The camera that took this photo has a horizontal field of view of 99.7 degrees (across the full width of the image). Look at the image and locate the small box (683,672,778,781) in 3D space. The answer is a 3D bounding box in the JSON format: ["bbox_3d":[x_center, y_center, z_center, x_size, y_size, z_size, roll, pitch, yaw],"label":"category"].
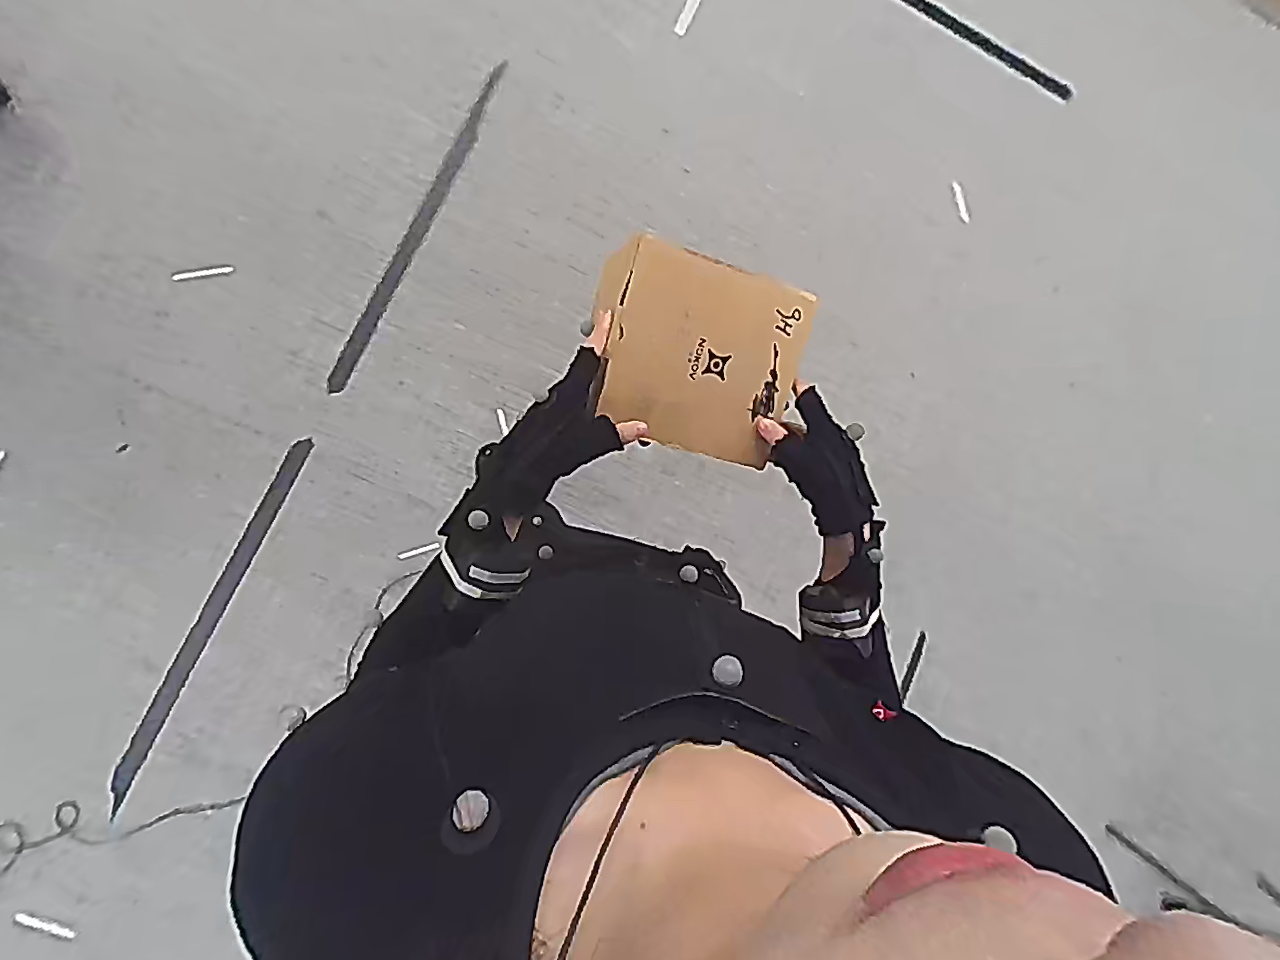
[{"bbox_3d":[0.233,0.654,1.457,0.168,0.176,0.179,37,83,-5],"label":"small box"}]
